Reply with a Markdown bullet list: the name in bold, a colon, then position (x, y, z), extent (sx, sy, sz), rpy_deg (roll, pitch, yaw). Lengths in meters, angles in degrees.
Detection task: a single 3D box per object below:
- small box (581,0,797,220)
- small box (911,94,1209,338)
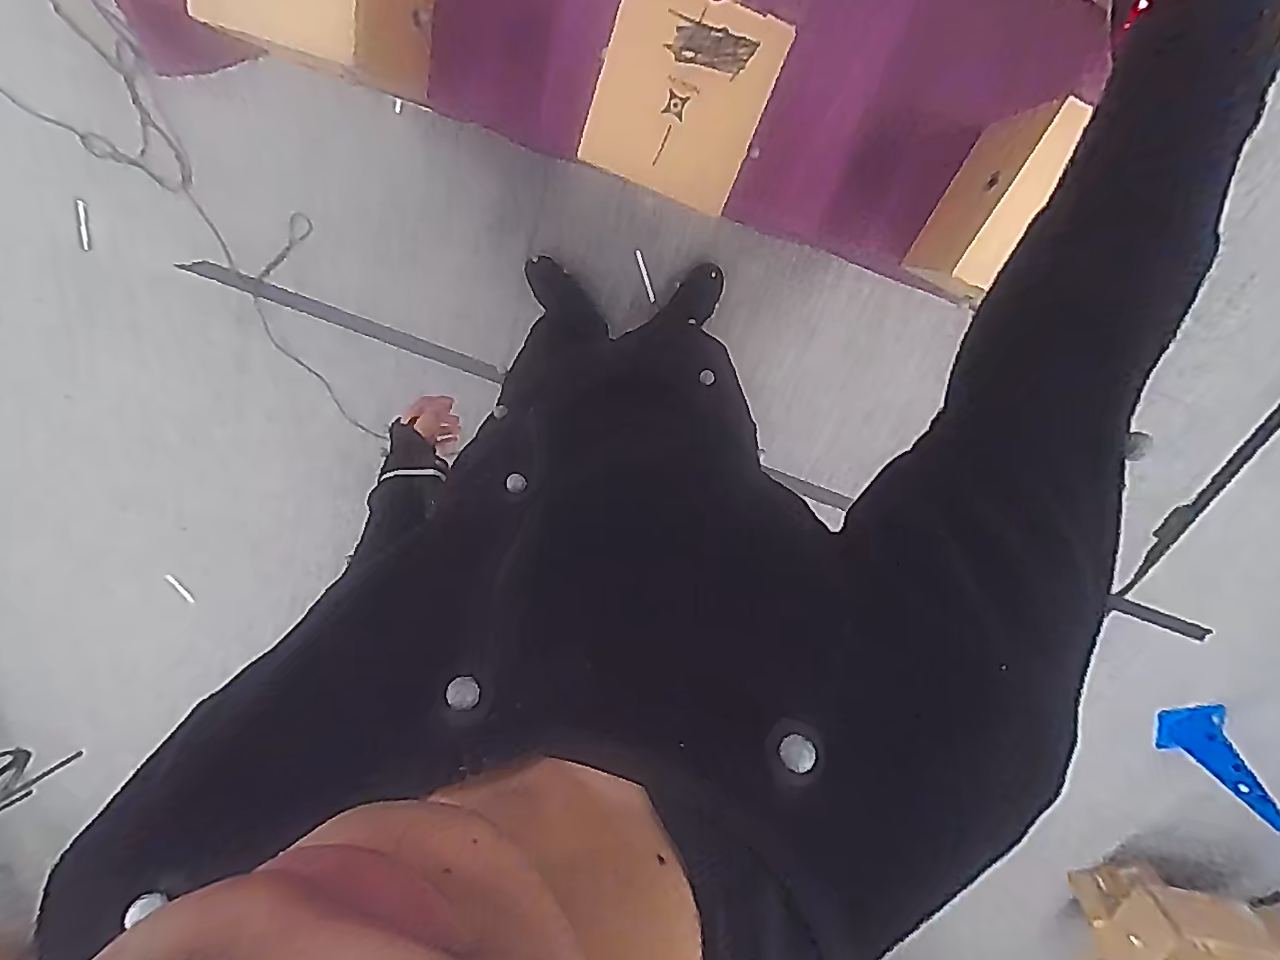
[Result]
- **small box**: position (0.051, -0.414, 0.608), extent (0.168, 0.176, 0.179), rpy_deg (22, 116, -3)
- **small box**: position (0.447, -0.290, 0.618), extent (0.168, 0.176, 0.179), rpy_deg (25, 115, -4)
